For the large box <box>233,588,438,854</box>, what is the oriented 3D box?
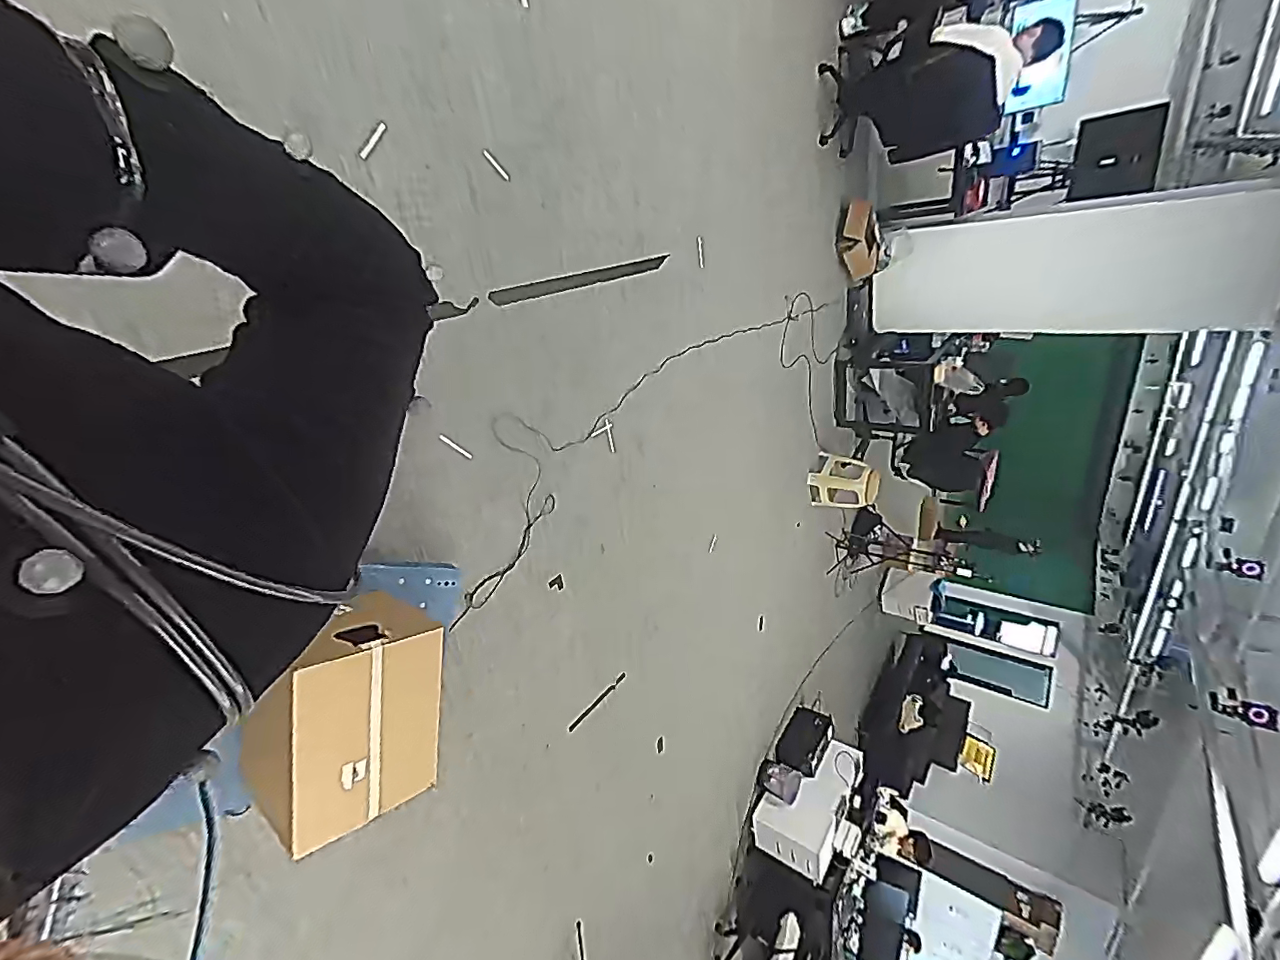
[{"bbox_3d":[-0.690,0.506,1.232,0.320,0.320,0.408,-5,103,-52],"label":"large box"}]
